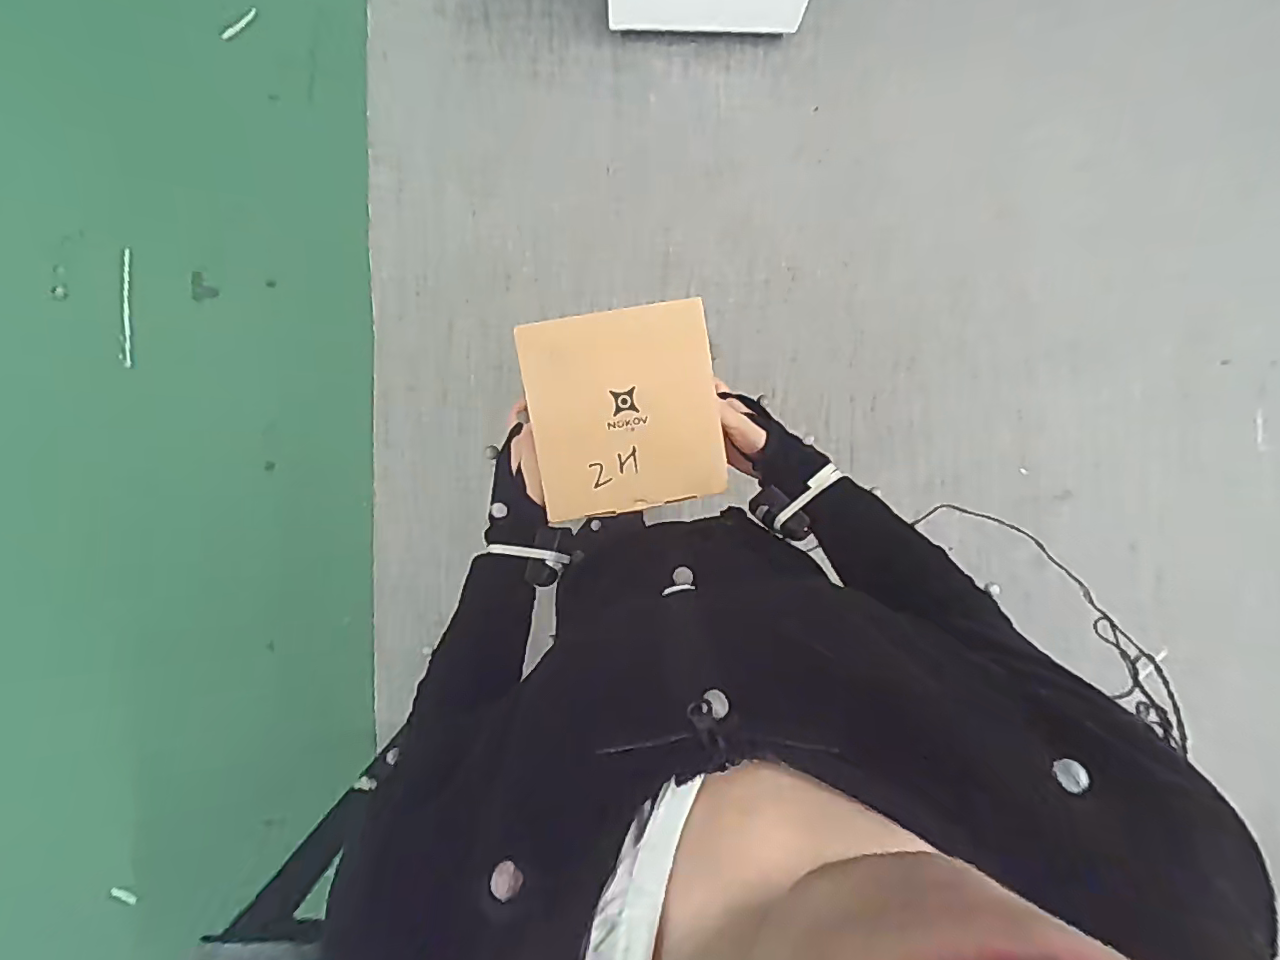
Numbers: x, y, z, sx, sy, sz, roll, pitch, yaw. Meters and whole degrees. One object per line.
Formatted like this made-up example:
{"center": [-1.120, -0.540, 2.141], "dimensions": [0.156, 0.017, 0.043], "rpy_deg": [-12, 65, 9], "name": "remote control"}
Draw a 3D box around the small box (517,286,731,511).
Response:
{"center": [-0.018, -0.074, 0.542], "dimensions": [0.168, 0.176, 0.179], "rpy_deg": [-9, 95, -2], "name": "small box"}
